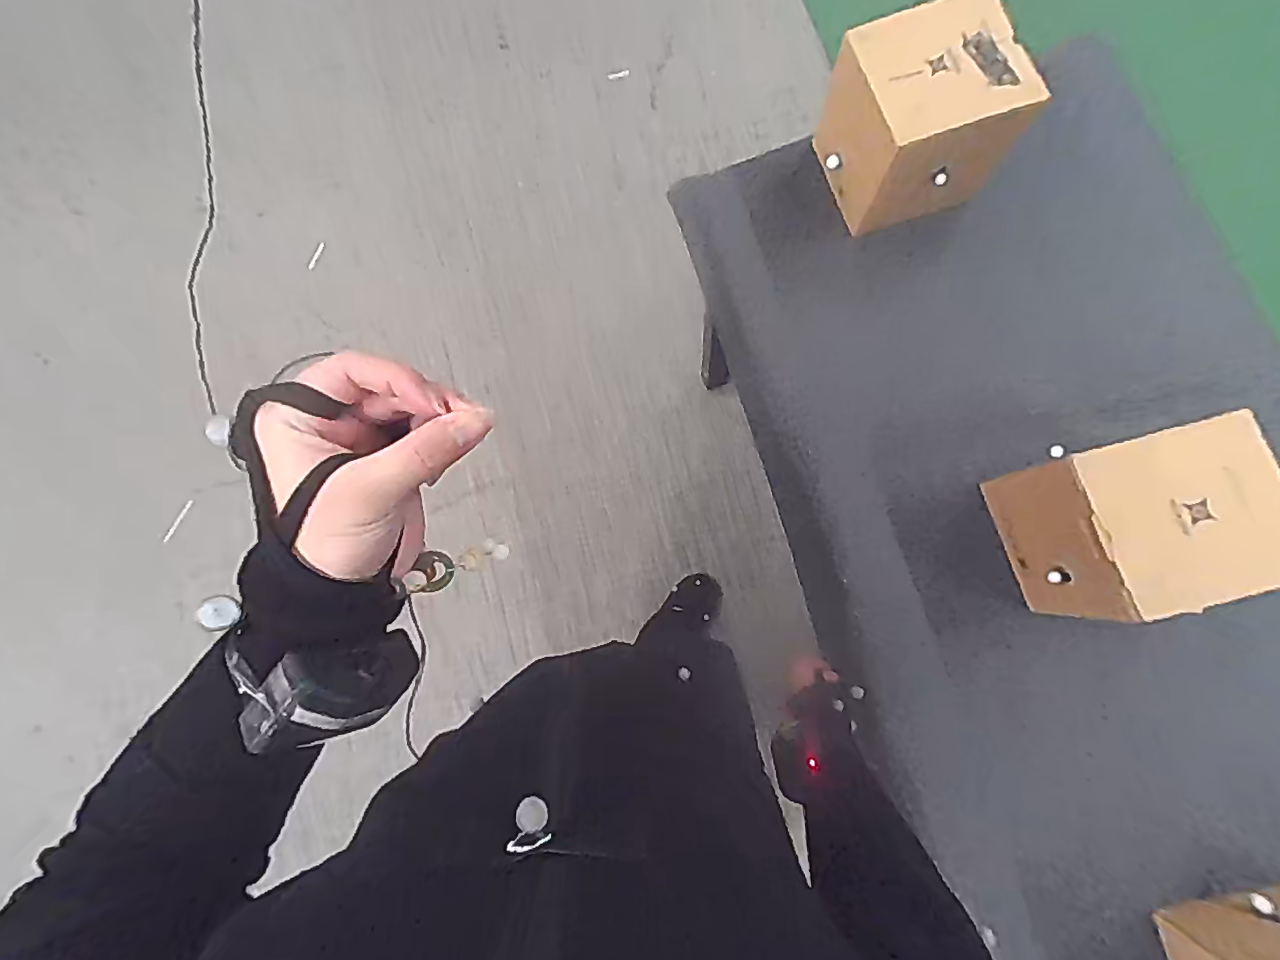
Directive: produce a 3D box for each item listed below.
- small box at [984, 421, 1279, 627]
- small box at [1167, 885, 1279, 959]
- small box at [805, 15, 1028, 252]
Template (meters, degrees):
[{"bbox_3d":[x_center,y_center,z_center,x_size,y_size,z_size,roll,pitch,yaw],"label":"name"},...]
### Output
[{"bbox_3d":[0.523,0.055,0.599,0.179,0.176,0.168,-17,80,1],"label":"small box"},{"bbox_3d":[0.654,0.515,0.498,0.179,0.176,0.168,-15,78,3],"label":"small box"},{"bbox_3d":[0.339,-0.433,0.702,0.179,0.176,0.168,-18,79,1],"label":"small box"}]
